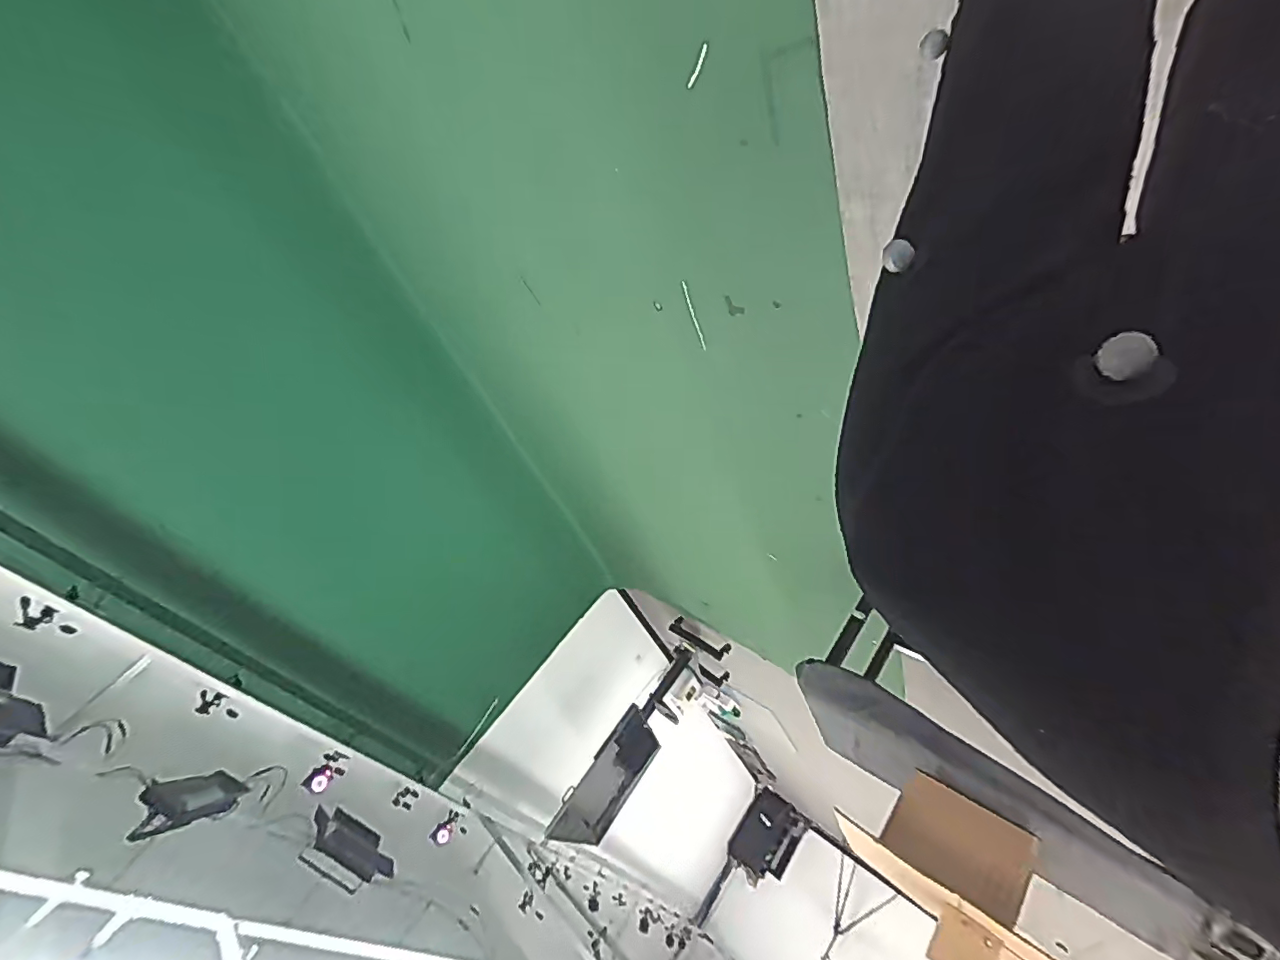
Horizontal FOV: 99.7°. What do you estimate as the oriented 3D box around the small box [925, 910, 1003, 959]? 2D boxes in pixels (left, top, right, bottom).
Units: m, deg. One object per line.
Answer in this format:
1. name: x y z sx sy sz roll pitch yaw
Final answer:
1. small box: 0.998 1.476 1.669 0.168 0.176 0.179 20 148 43
